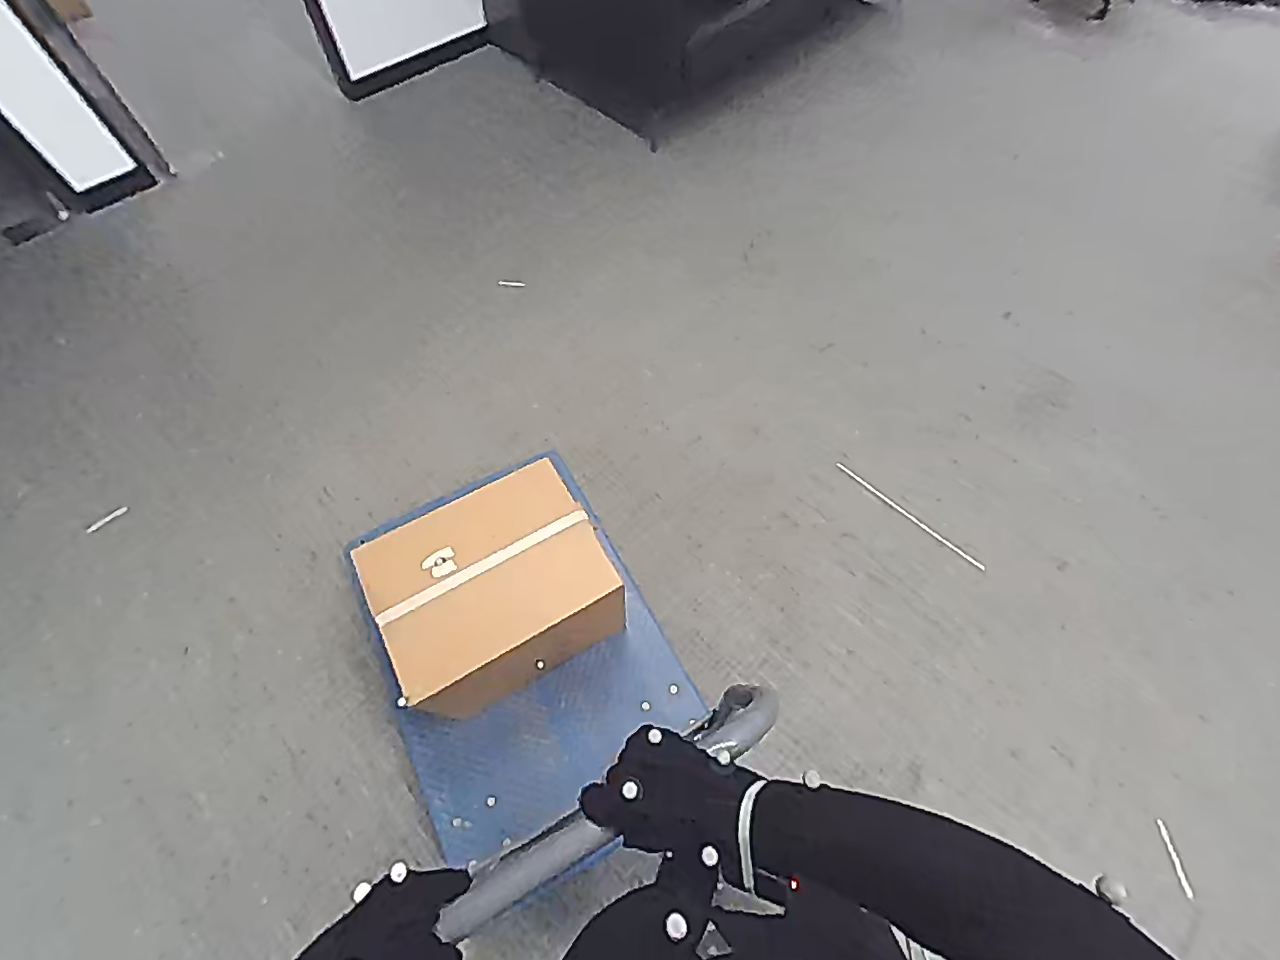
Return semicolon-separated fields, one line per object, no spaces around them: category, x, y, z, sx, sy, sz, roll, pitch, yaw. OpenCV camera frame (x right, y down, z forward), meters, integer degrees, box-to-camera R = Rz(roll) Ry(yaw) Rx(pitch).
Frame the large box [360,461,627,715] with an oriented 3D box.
large box;-0.273;0.232;1.120;0.408;0.320;0.320;-28;66;-14
